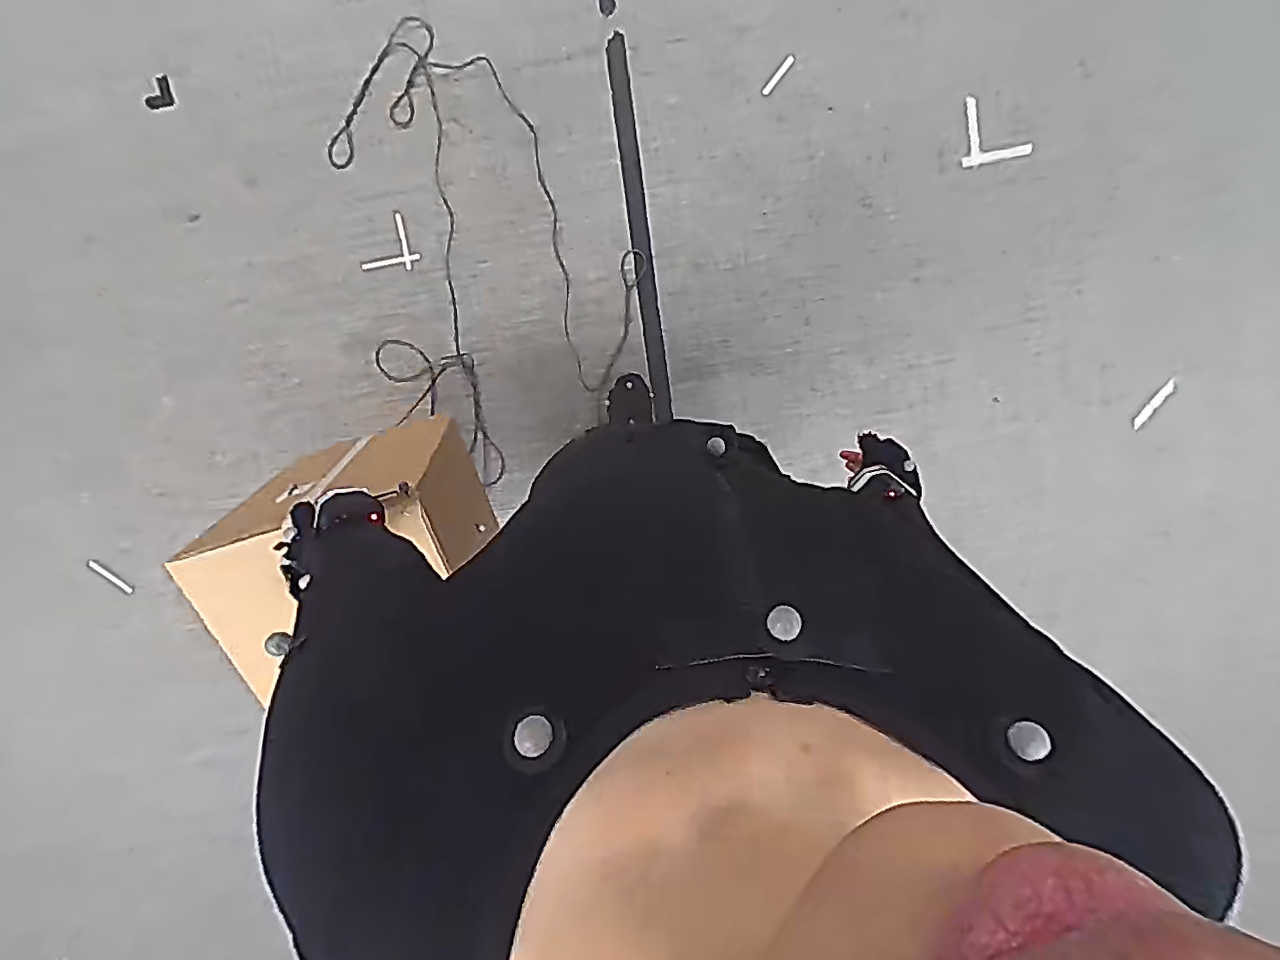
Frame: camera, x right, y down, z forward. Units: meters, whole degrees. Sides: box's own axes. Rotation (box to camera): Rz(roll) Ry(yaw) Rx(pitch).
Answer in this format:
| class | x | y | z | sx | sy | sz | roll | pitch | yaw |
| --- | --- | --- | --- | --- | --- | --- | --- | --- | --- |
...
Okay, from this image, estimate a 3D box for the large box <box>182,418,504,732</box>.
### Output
| class | x | y | z | sx | sy | sz | roll | pitch | yaw |
| --- | --- | --- | --- | --- | --- | --- | --- | --- | --- |
| large box | -0.432 | 0.126 | 0.921 | 0.320 | 0.408 | 0.320 | -19 | 114 | -4 |
